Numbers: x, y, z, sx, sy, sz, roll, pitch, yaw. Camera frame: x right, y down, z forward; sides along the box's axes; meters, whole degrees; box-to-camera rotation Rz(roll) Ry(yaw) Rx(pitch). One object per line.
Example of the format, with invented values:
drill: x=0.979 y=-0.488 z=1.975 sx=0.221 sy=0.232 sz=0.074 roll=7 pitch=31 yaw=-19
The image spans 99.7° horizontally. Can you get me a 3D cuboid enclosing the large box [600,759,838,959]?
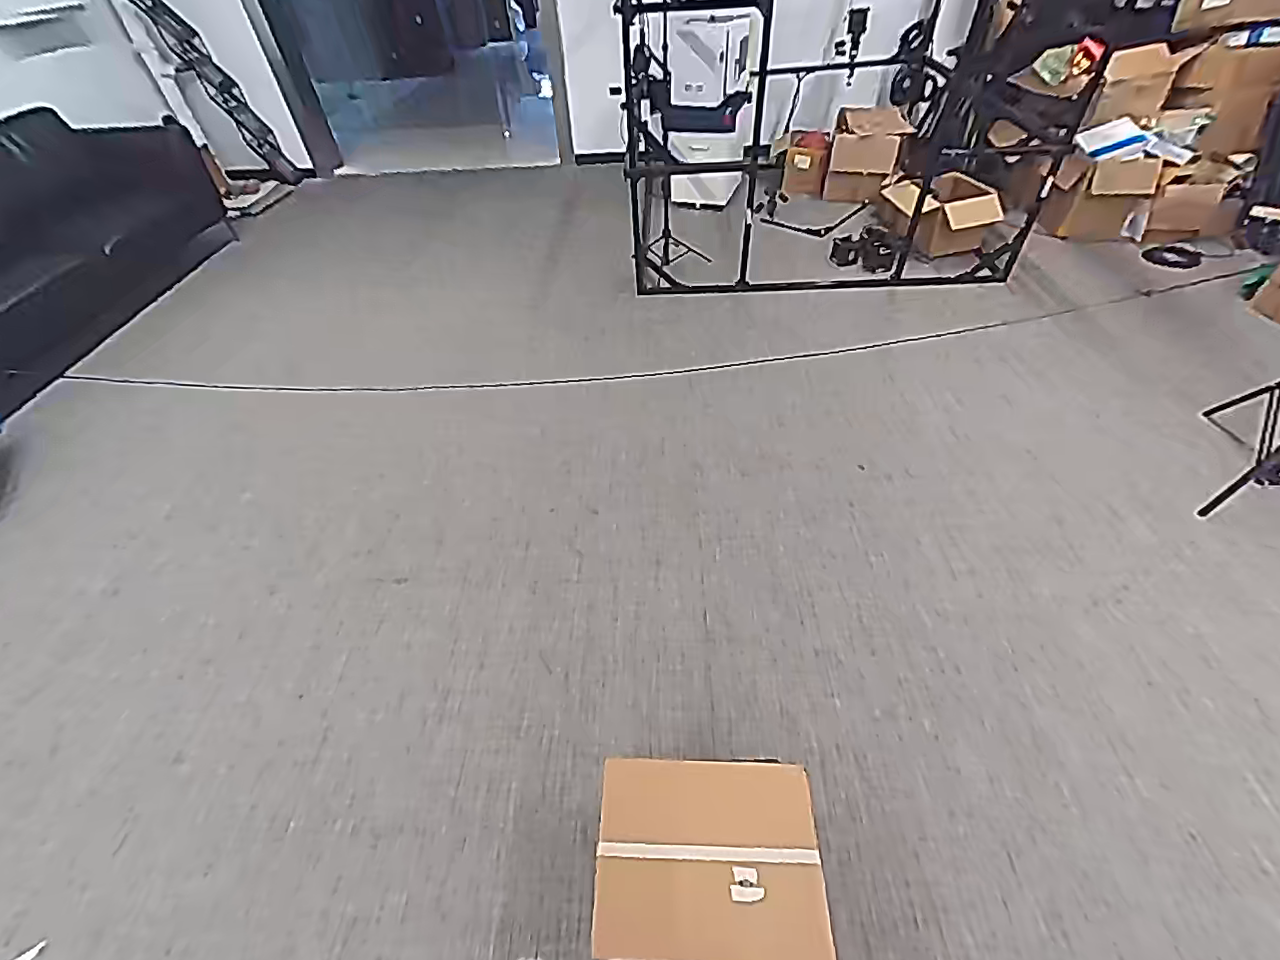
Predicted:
large box: x=0.139 y=0.788 z=1.103 sx=0.408 sy=0.320 sz=0.320 roll=0 pitch=47 yaw=4
